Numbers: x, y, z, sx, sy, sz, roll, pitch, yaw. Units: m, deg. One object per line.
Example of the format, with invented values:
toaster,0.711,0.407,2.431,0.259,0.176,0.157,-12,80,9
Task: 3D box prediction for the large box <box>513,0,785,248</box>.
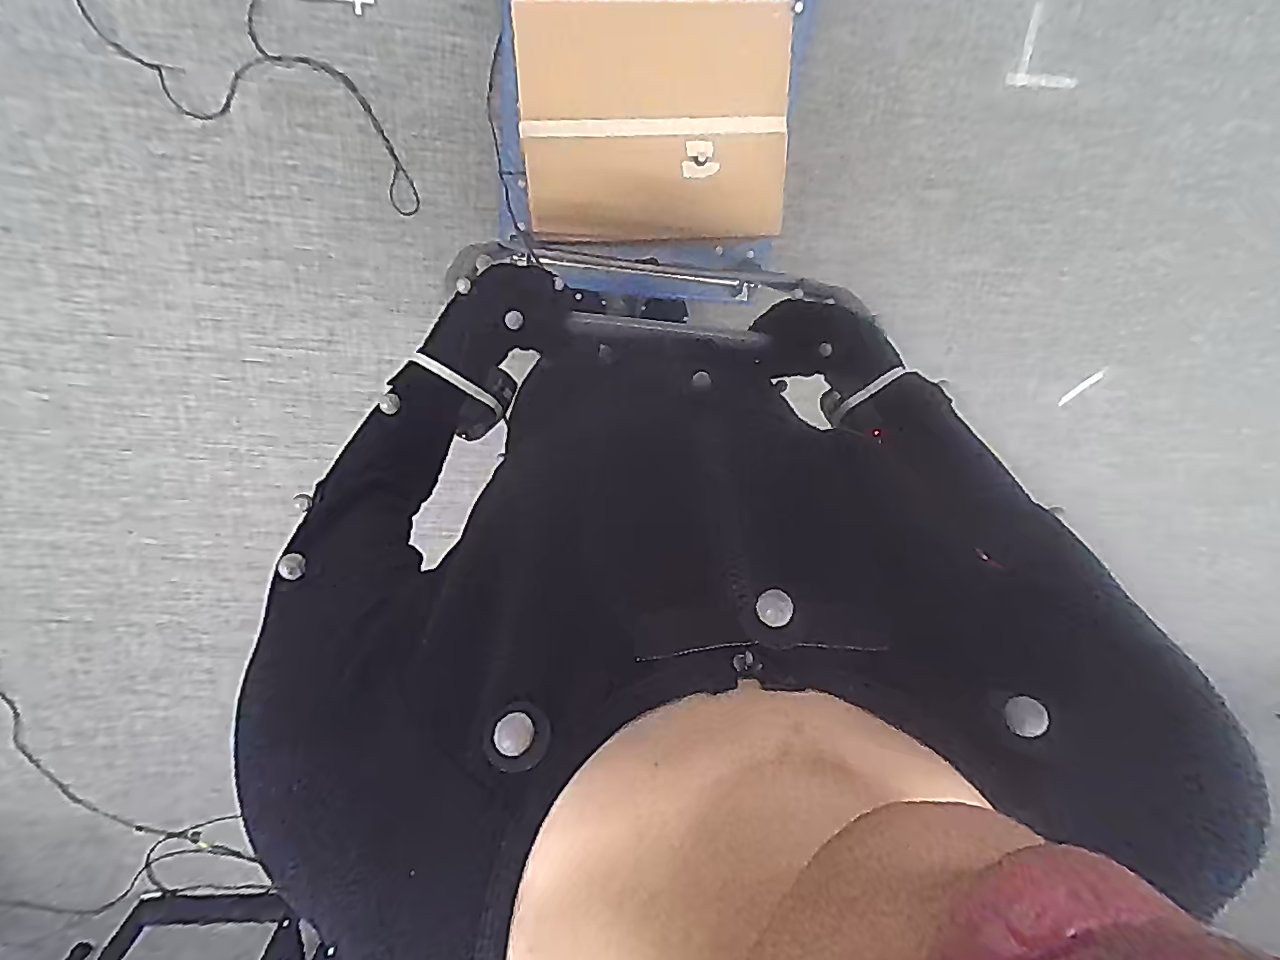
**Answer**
large box,0.007,-0.601,0.971,0.408,0.320,0.320,-4,112,-5
